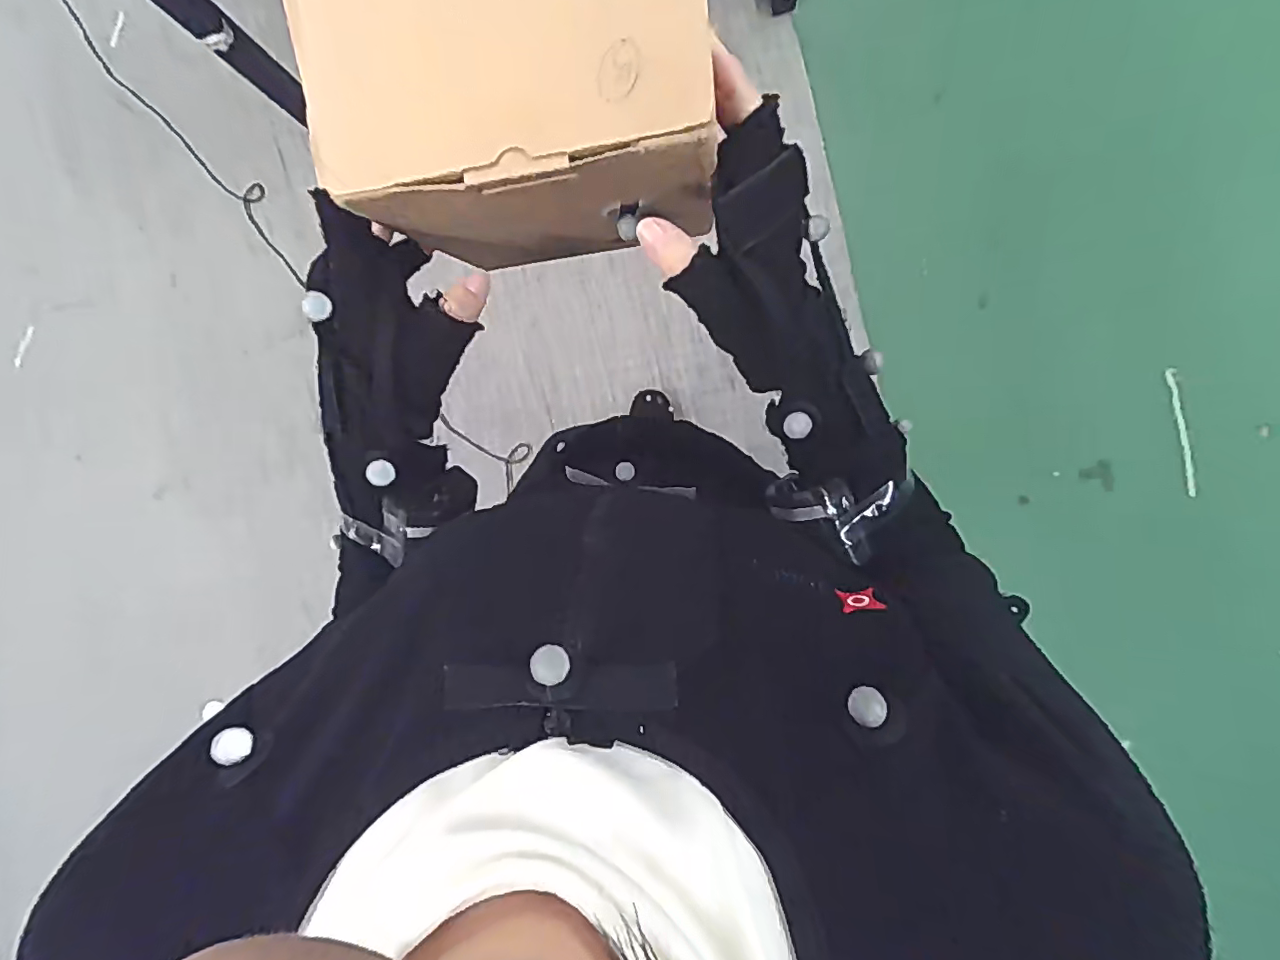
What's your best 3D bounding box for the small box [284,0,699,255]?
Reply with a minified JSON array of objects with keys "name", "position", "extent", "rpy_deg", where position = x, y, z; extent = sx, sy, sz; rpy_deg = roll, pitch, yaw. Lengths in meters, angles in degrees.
[{"name":"small box","position":[-0.057,-0.230,0.287],"extent":[0.168,0.176,0.179],"rpy_deg":[-6,100,7]}]
